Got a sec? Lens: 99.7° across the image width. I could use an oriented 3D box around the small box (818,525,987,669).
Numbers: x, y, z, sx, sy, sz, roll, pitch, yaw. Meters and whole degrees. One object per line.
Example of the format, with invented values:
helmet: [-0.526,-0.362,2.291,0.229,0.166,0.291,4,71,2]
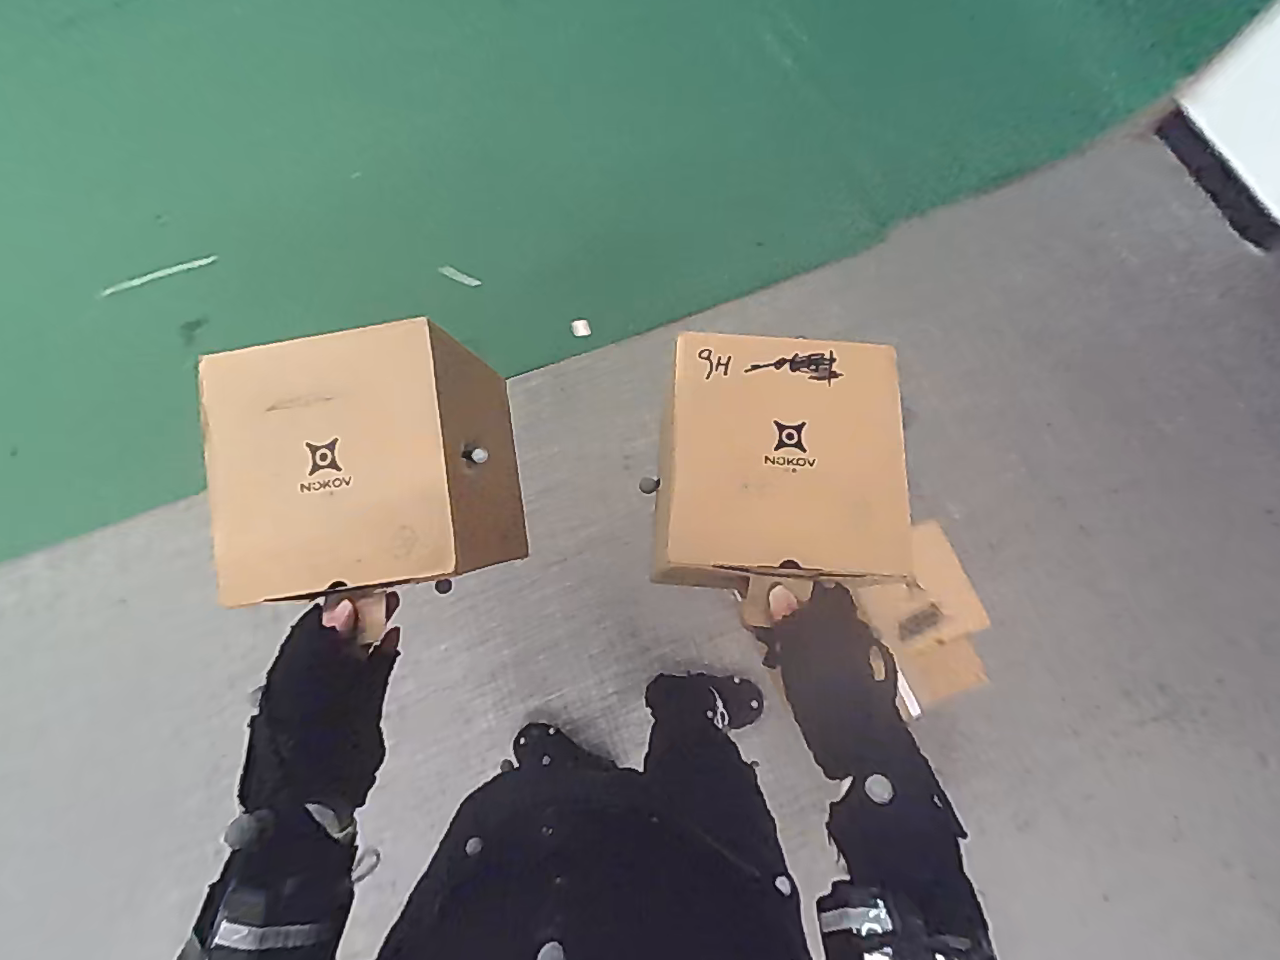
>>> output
small box: [0.427,0.192,0.912,0.168,0.176,0.179,-25,78,0]
